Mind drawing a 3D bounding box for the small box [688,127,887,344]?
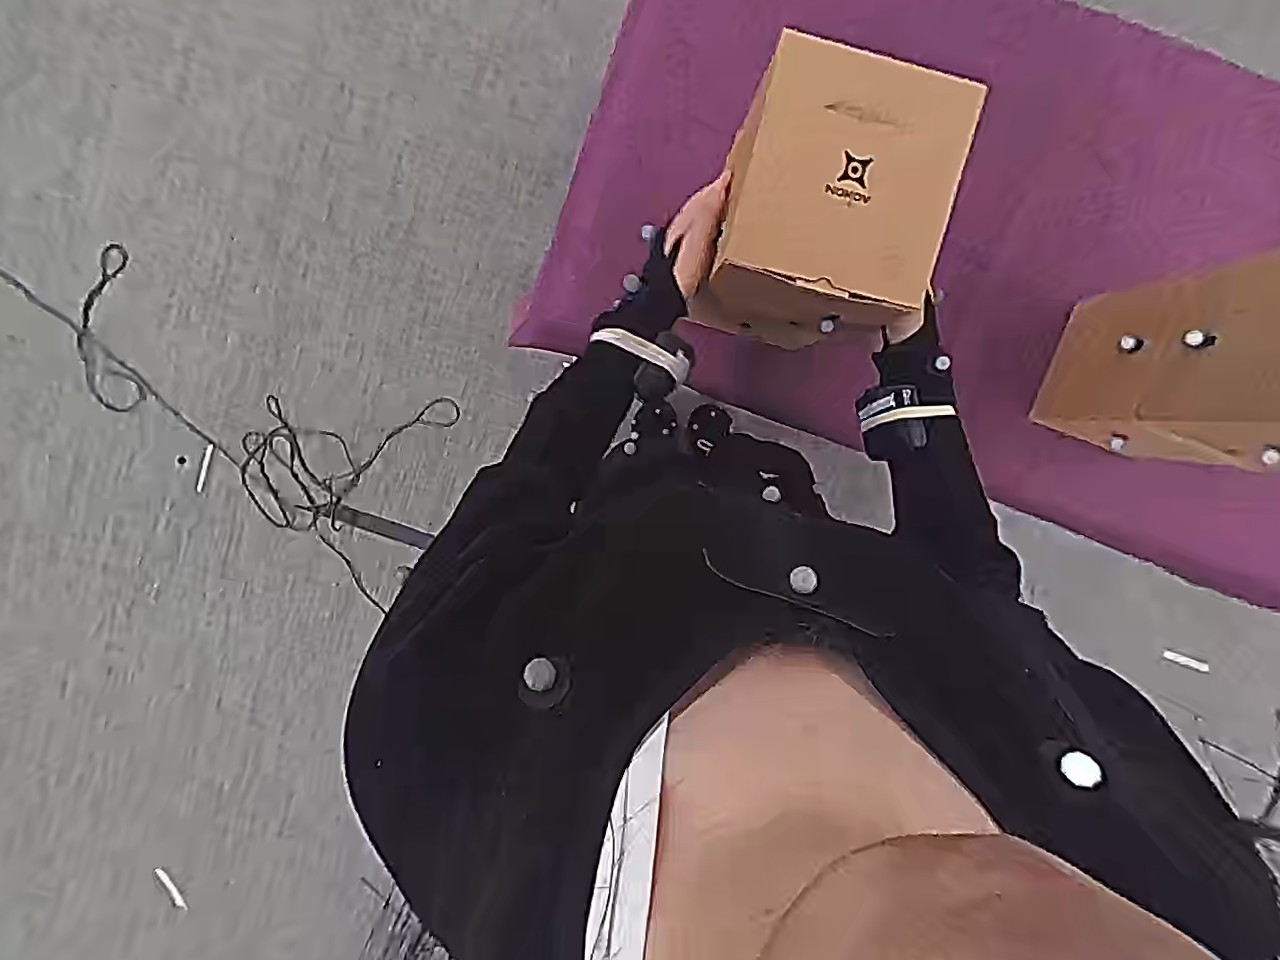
[{"bbox_3d":[0.161,-0.275,0.657,0.168,0.176,0.179,15,96,-3],"label":"small box"}]

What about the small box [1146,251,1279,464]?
[{"bbox_3d":[0.663,-0.113,0.526,0.168,0.176,0.179,20,97,-3],"label":"small box"}]

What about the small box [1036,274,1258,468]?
[{"bbox_3d":[0.659,-0.130,0.689,0.168,0.176,0.179,19,96,-3],"label":"small box"}]
